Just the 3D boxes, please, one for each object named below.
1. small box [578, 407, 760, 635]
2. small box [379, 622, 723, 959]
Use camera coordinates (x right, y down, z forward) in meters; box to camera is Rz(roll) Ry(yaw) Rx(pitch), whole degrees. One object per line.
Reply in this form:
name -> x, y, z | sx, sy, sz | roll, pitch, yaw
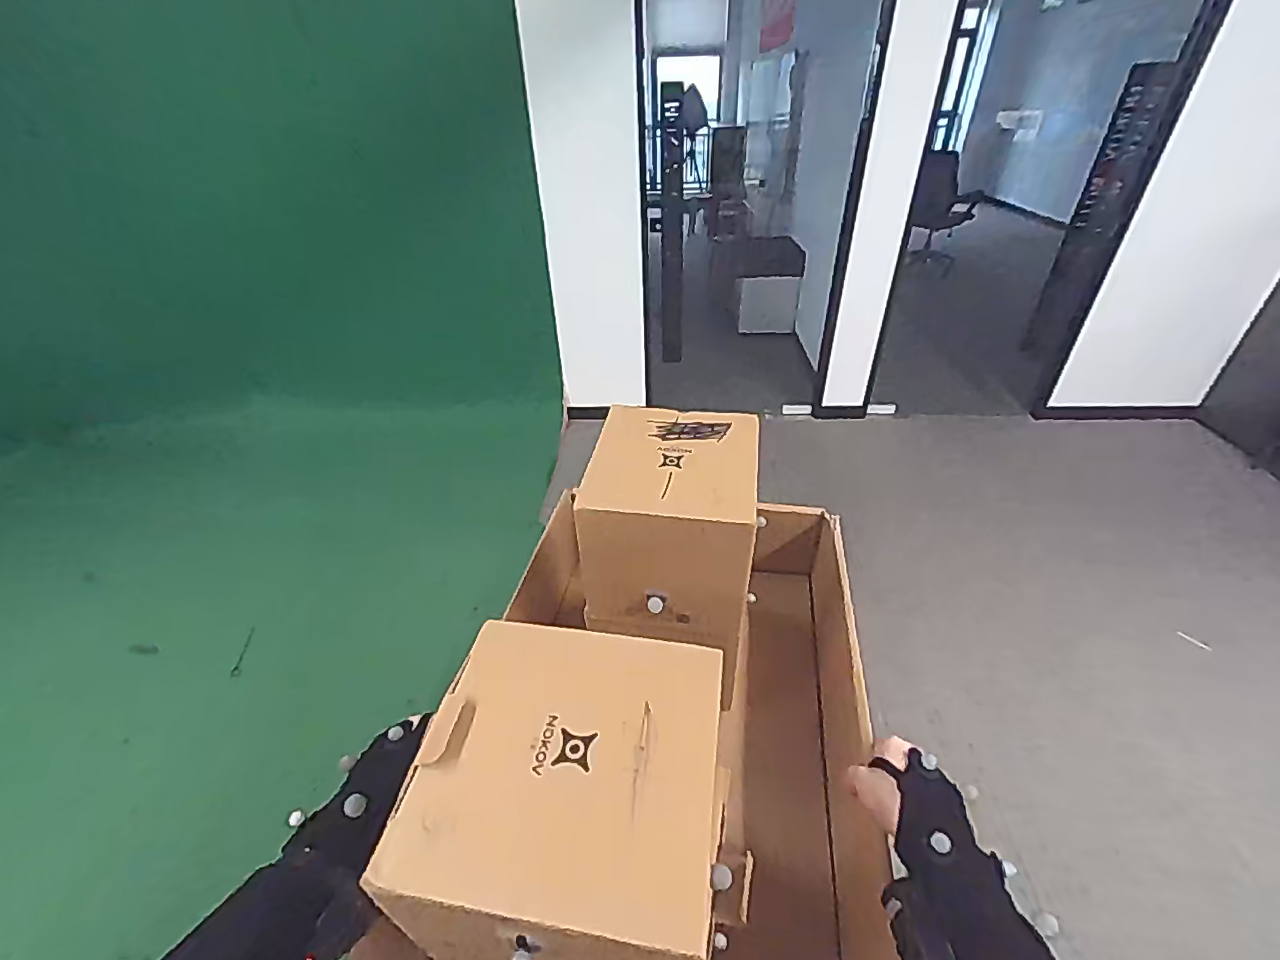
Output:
small box -> 0.038, 0.042, 0.595 | 0.168, 0.176, 0.179 | 5, 41, 9
small box -> -0.038, 0.225, 0.378 | 0.179, 0.176, 0.168 | 5, 39, 7
